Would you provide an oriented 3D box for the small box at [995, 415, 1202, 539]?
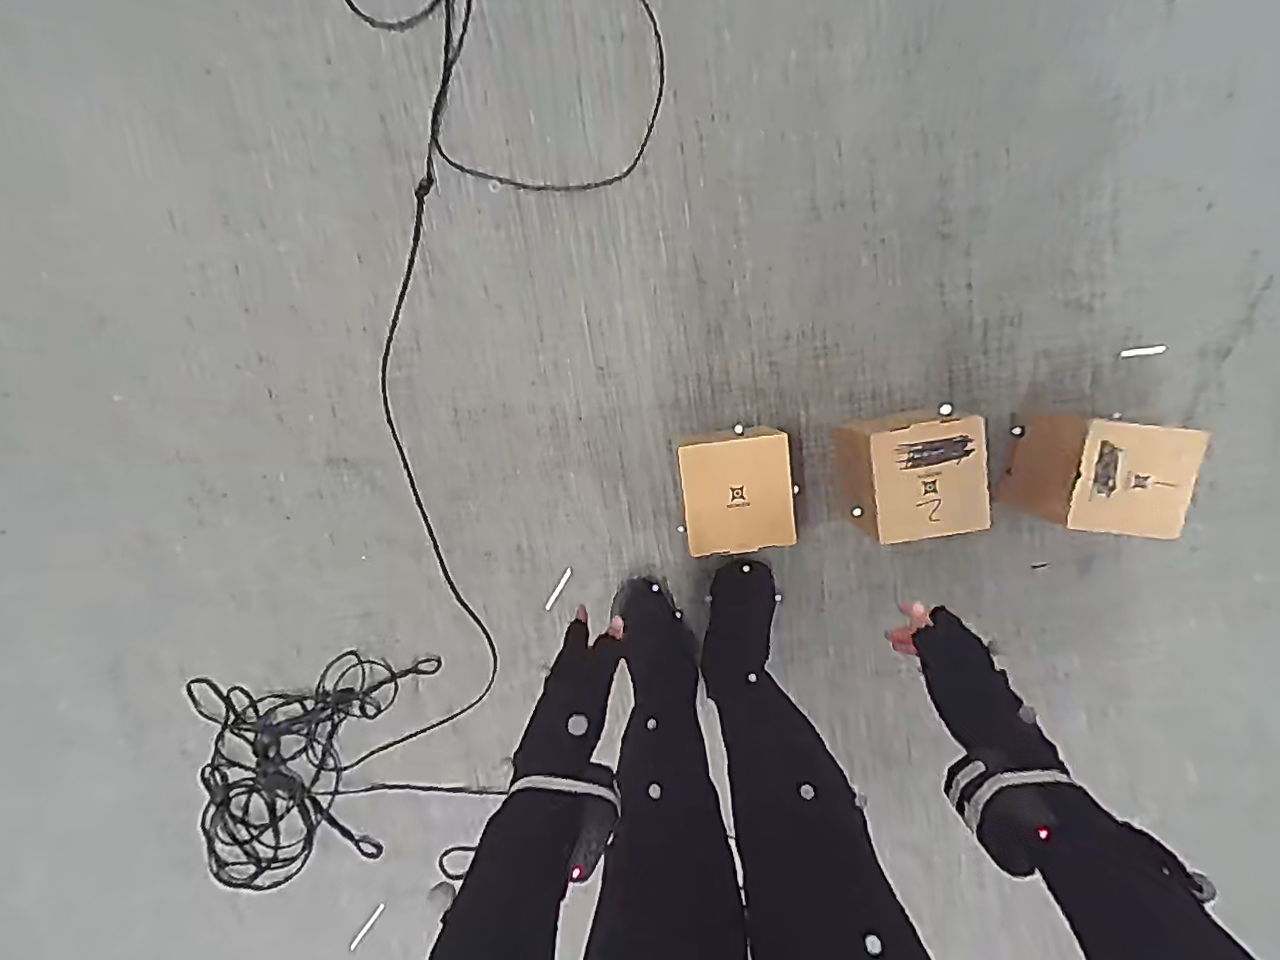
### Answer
[{"bbox_3d":[0.719,-0.014,0.873,0.179,0.176,0.168,6,100,0],"label":"small box"}]

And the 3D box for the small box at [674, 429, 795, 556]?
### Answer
[{"bbox_3d":[0.150,0.011,0.899,0.168,0.176,0.179,-8,100,3],"label":"small box"}]
